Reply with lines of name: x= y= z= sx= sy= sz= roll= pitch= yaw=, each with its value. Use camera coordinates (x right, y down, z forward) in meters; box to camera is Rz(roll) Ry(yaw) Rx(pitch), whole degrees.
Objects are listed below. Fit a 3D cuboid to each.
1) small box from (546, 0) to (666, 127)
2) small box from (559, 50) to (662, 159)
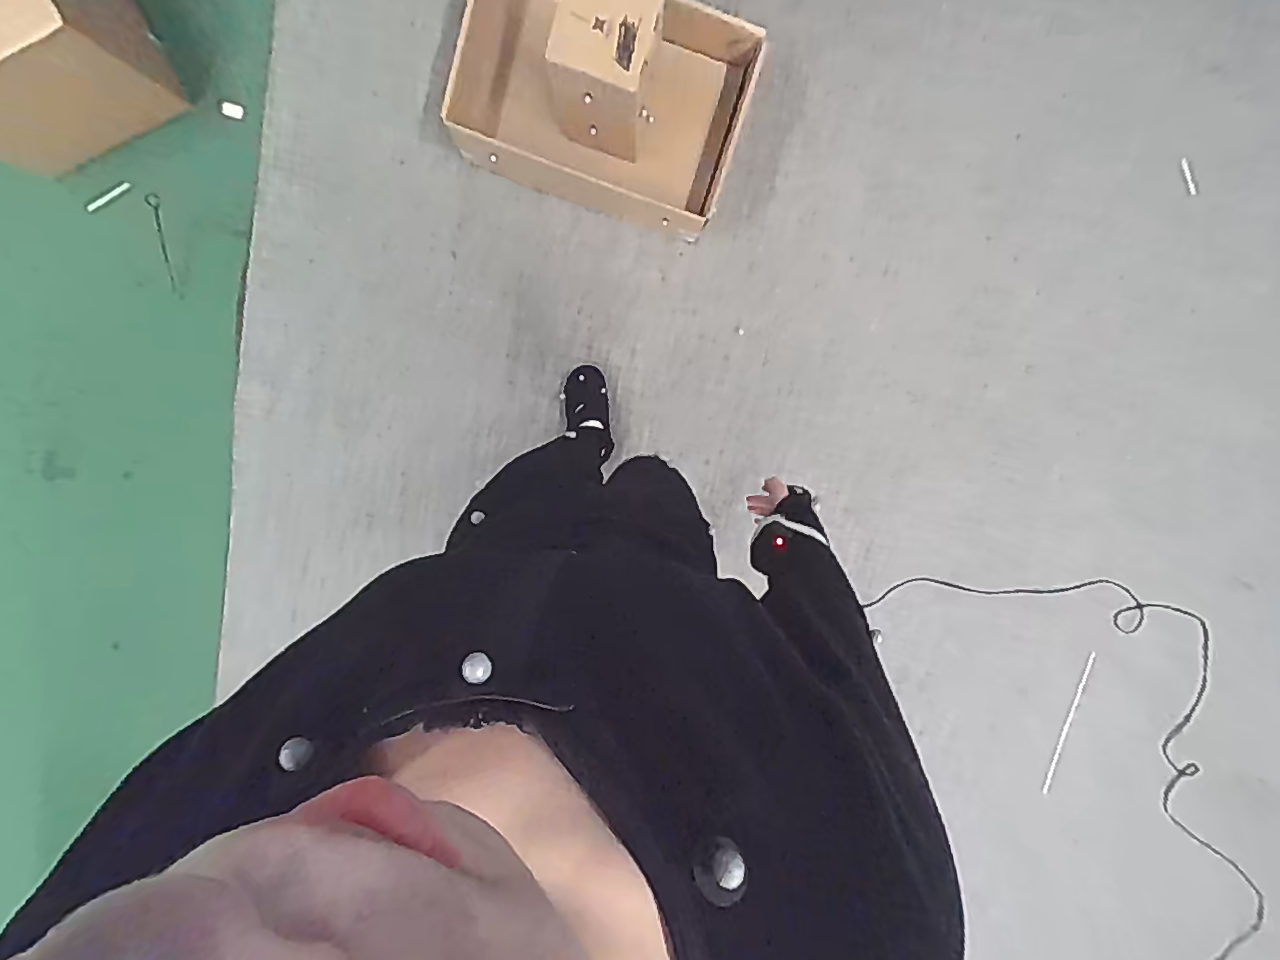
small box: x=-0.061 y=-0.814 z=1.033 sx=0.179 sy=0.176 sz=0.168 roll=18 pitch=100 yaw=-4
small box: x=-0.063 y=-0.846 z=1.195 sx=0.179 sy=0.176 sz=0.168 roll=17 pitch=100 yaw=-5
